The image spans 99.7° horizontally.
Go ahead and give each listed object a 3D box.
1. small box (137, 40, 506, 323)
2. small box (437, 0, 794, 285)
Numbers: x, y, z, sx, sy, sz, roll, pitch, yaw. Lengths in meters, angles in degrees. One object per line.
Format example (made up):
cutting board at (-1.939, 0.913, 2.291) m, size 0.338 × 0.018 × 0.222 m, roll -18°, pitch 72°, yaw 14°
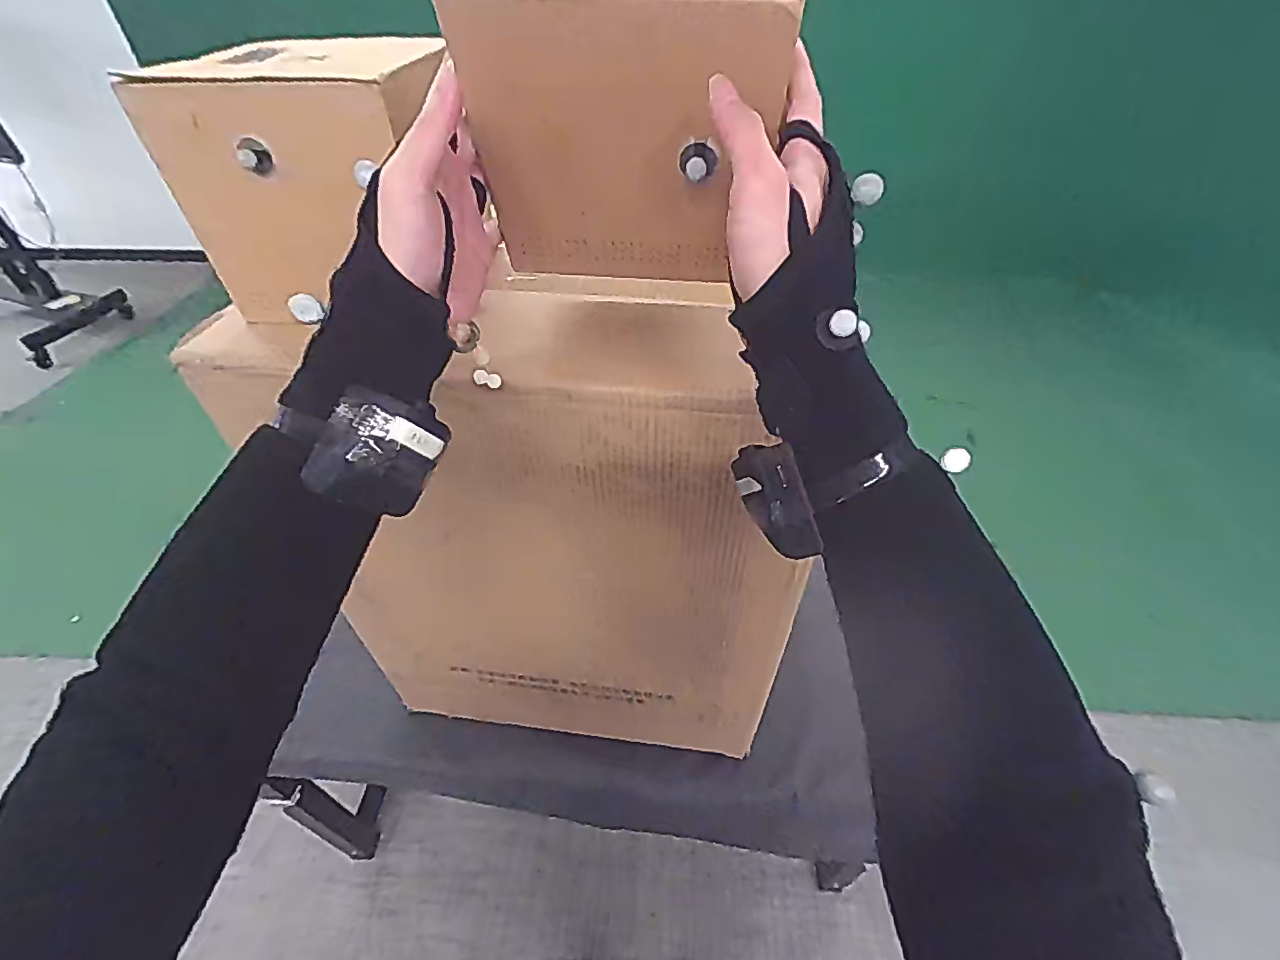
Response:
small box at (-0.234, -0.248, 0.456) m, size 0.179 × 0.176 × 0.168 m, roll 4°, pitch 48°, yaw 6°
small box at (-0.002, -0.253, 0.365) m, size 0.179 × 0.176 × 0.168 m, roll 4°, pitch 62°, yaw 6°
